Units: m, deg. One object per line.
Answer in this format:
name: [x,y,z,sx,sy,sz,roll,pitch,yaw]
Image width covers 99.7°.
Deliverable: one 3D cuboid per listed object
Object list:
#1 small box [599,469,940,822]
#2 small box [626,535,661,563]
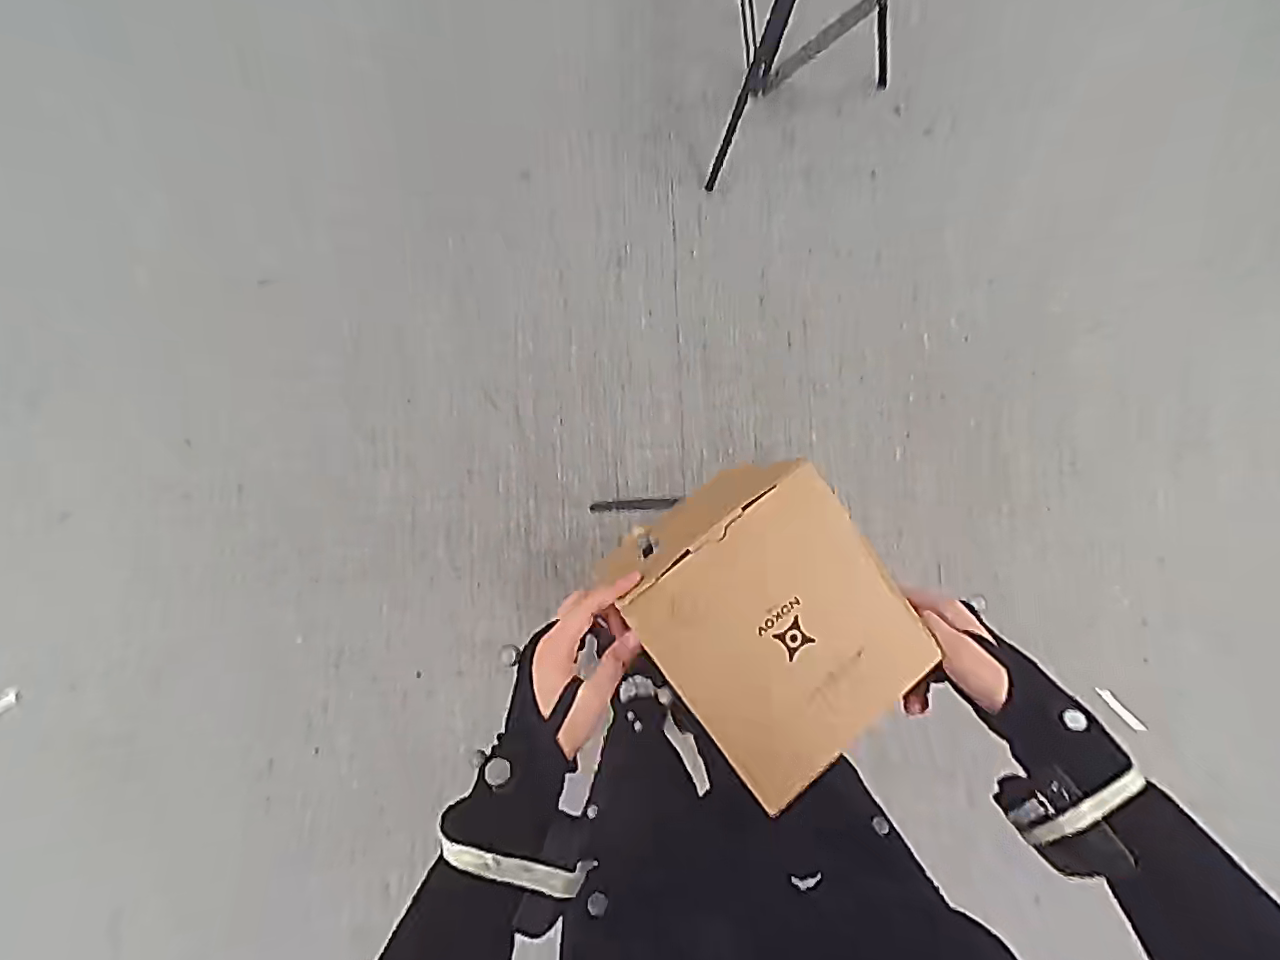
small box: [0.084,0.114,0.439,0.168,0.176,0.179,-37,94,-12]
small box: [0.056,0.201,1.064,0.179,0.176,0.168,7,84,-3]
